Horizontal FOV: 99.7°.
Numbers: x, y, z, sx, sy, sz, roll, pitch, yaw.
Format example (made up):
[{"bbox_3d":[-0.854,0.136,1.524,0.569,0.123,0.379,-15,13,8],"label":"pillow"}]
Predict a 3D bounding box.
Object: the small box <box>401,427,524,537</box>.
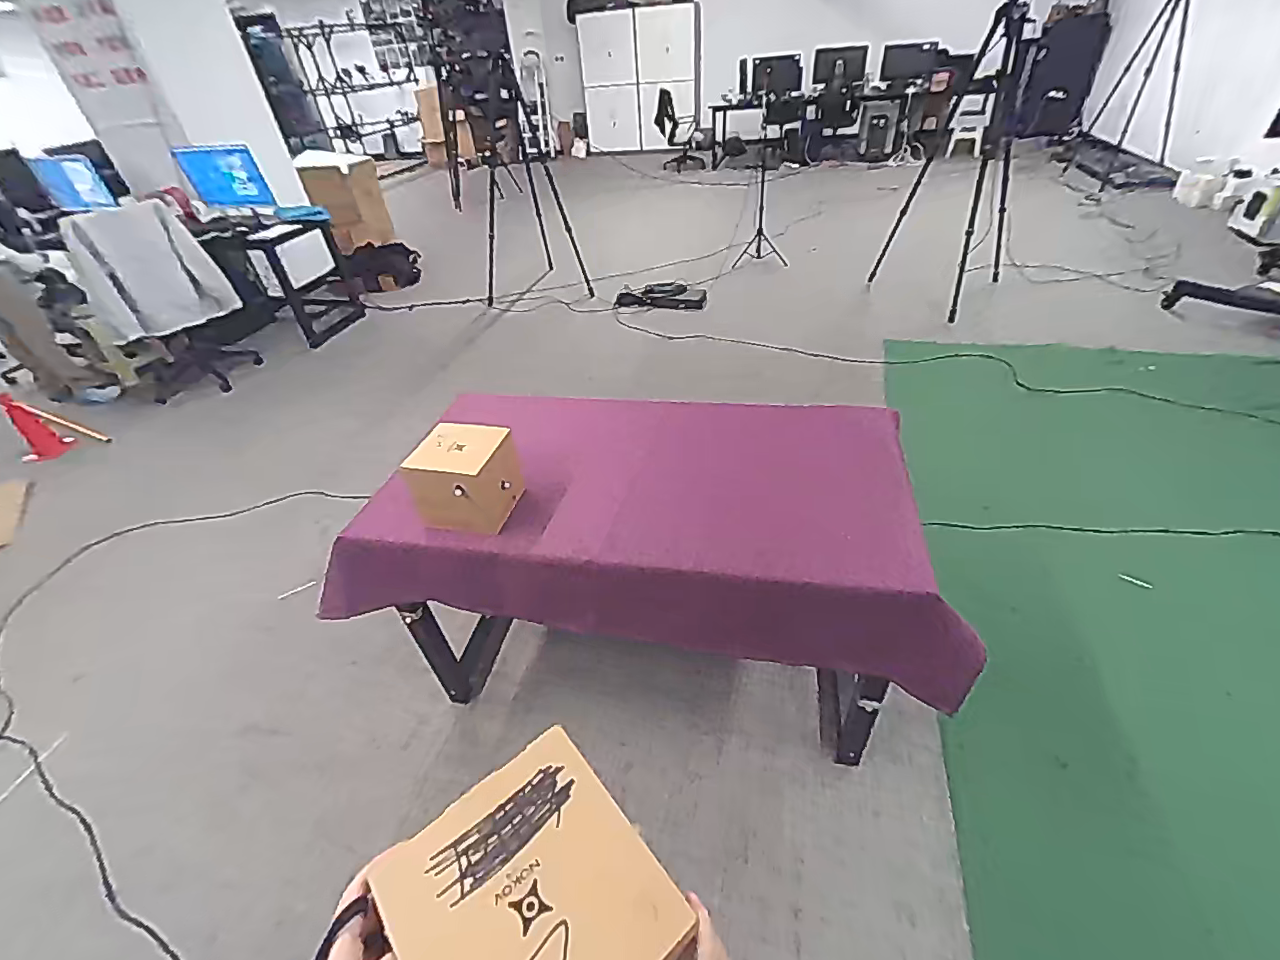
[{"bbox_3d":[-0.372,0.005,1.171,0.179,0.176,0.168,5,39,14],"label":"small box"}]
